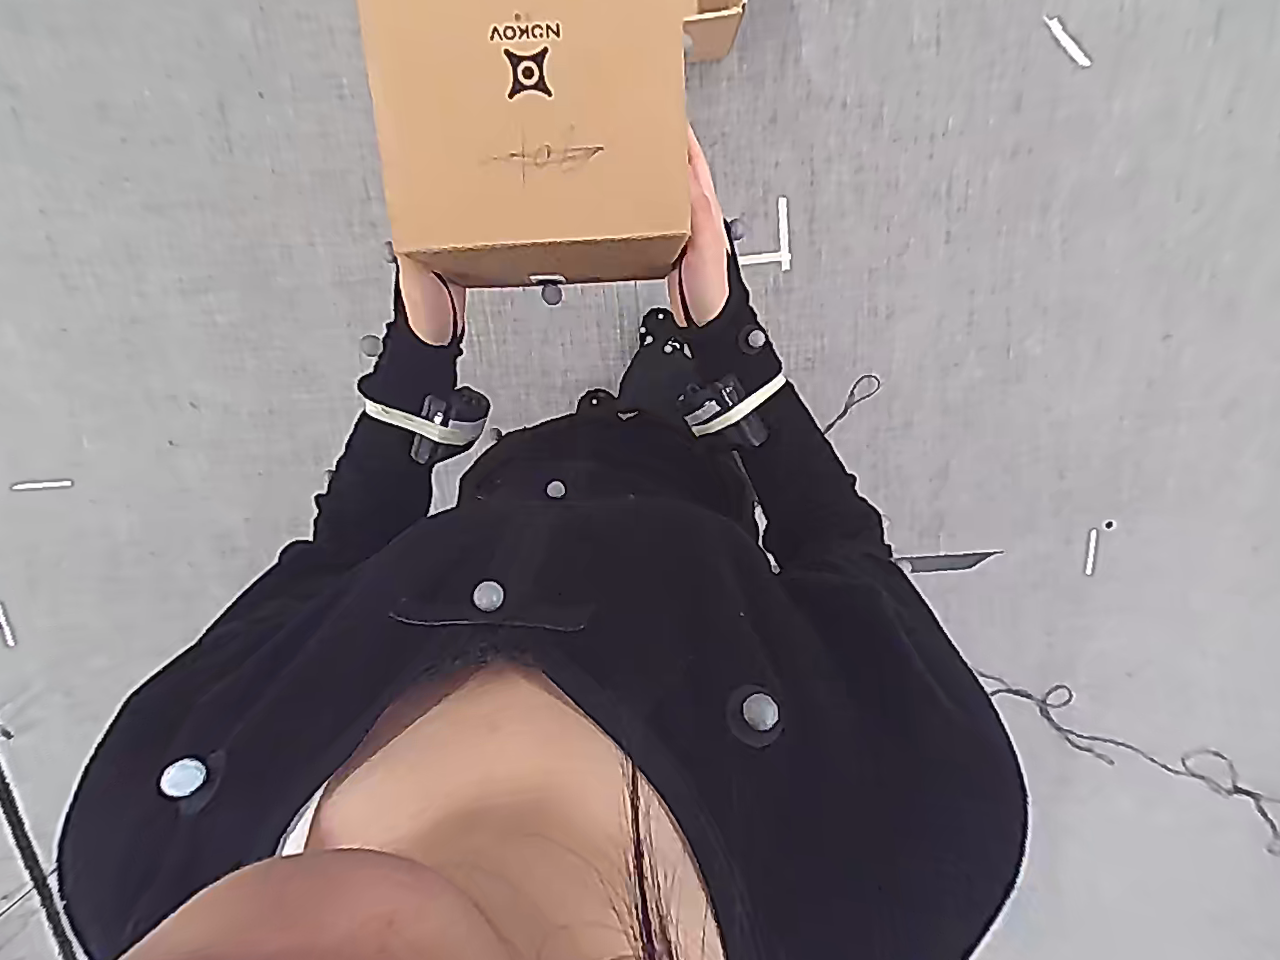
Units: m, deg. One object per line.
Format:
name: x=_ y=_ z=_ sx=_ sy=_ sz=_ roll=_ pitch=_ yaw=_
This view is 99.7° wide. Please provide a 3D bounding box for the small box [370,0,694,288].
small box: x=-0.059 y=-0.235 z=0.361 sx=0.168 sy=0.176 sz=0.179 roll=-4 pitch=103 yaw=-2
